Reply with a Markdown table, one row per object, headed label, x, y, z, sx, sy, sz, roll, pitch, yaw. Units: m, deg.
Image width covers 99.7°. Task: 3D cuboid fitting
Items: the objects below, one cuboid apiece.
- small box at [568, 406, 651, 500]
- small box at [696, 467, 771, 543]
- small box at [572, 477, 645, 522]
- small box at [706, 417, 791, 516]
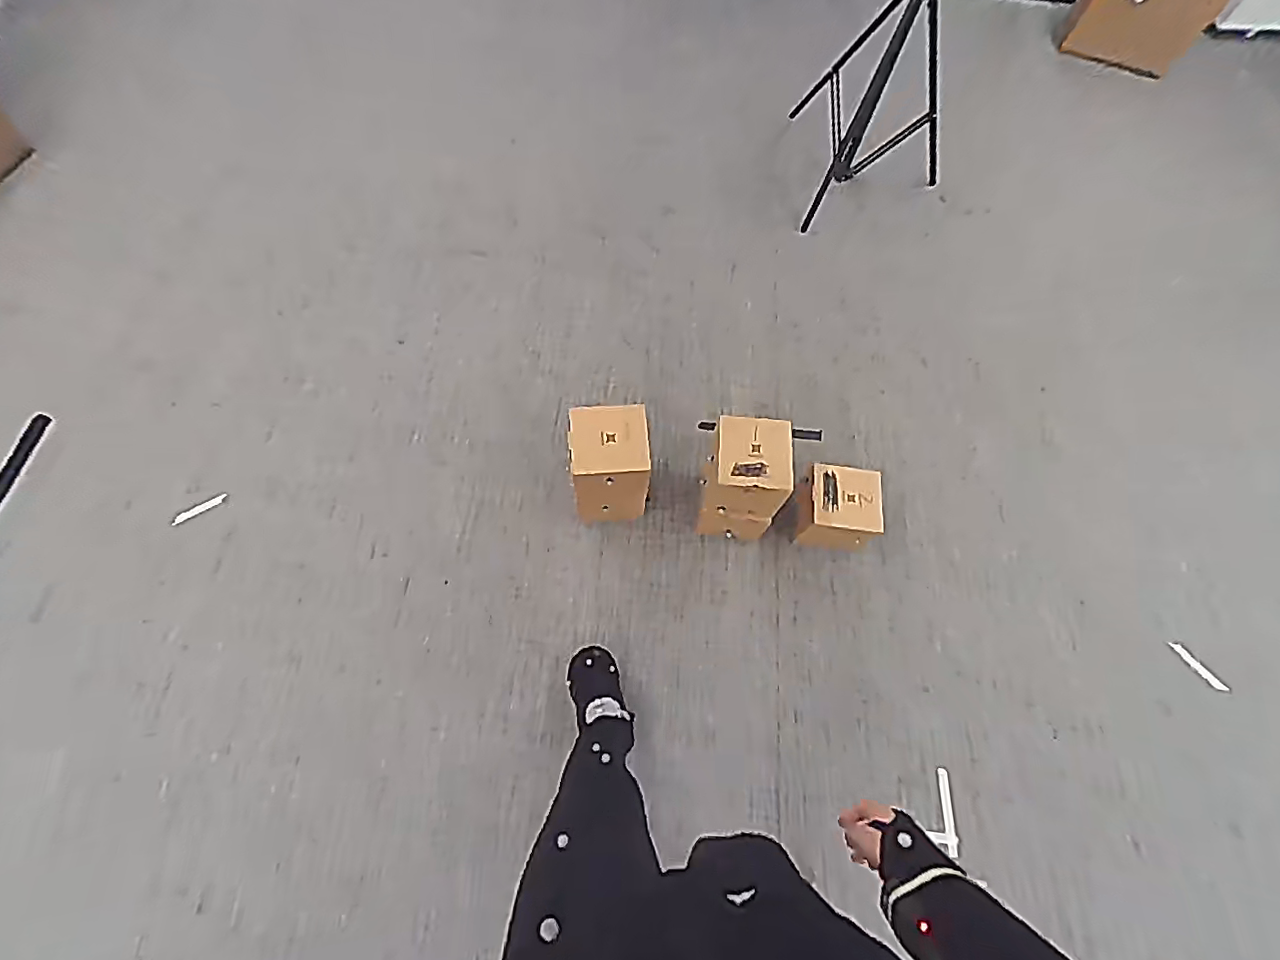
| label | x | y | z | sx | sy | sz | roll | pitch | yaw |
| --- | --- | --- | --- | --- | --- | --- | --- | --- | --- |
| small box | -0.073 | -0.058 | 1.264 | 0.179 | 0.176 | 0.168 | -3 | 69 | -5 |
| small box | 0.244 | 0.048 | 1.411 | 0.168 | 0.176 | 0.179 | 9 | 68 | 1 |
| small box | -0.083 | 0.005 | 1.414 | 0.179 | 0.176 | 0.168 | -5 | 68 | -4 |
| small box | 0.249 | -0.025 | 1.263 | 0.168 | 0.176 | 0.179 | 6 | 66 | -1 |
